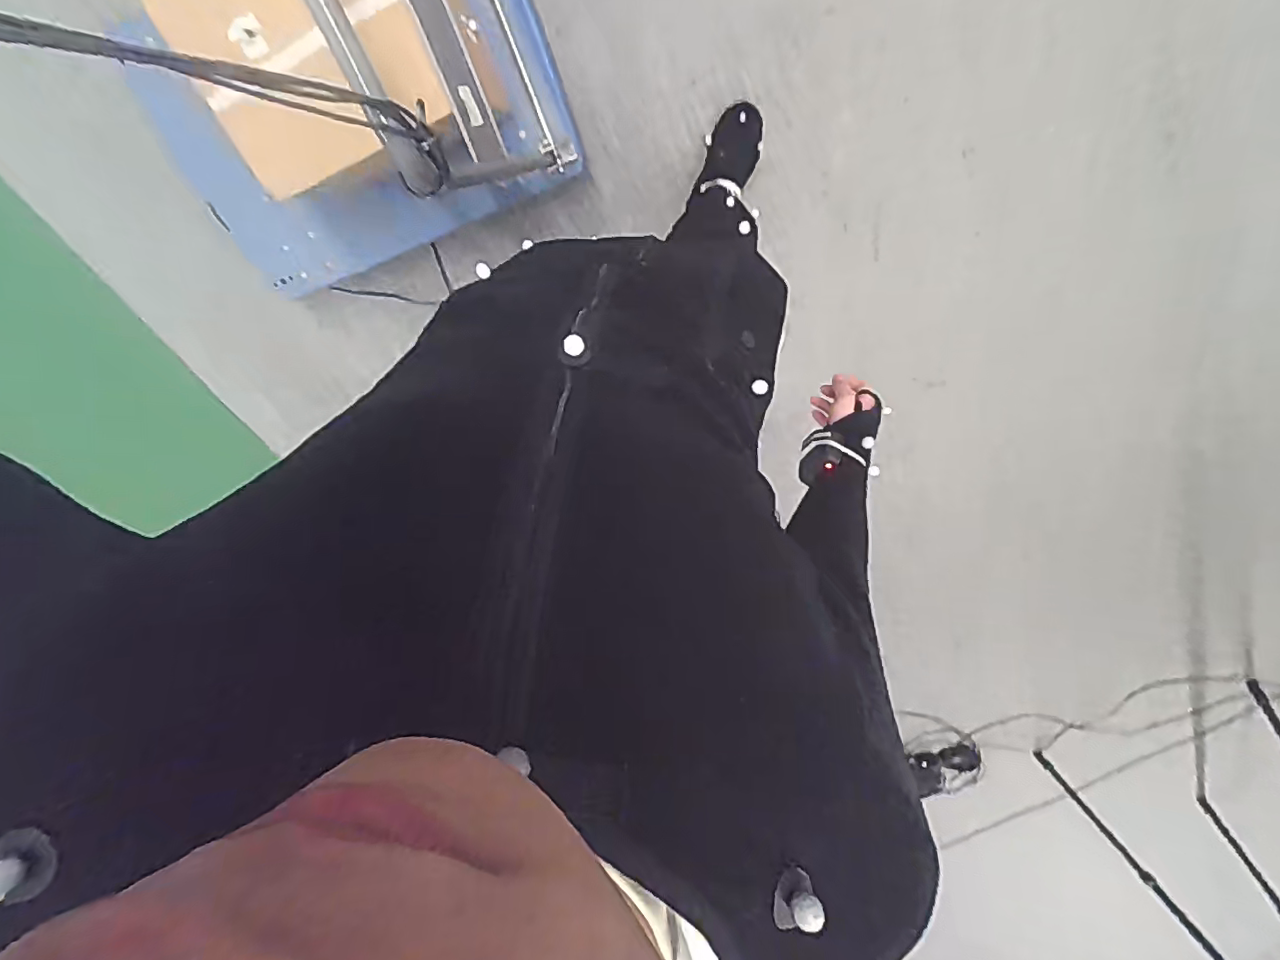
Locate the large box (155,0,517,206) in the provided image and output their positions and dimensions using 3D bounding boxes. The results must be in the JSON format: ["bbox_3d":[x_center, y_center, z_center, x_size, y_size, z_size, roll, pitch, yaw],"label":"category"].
[{"bbox_3d":[-0.500,-0.750,0.973,0.408,0.320,0.320,-15,120,16],"label":"large box"}]
